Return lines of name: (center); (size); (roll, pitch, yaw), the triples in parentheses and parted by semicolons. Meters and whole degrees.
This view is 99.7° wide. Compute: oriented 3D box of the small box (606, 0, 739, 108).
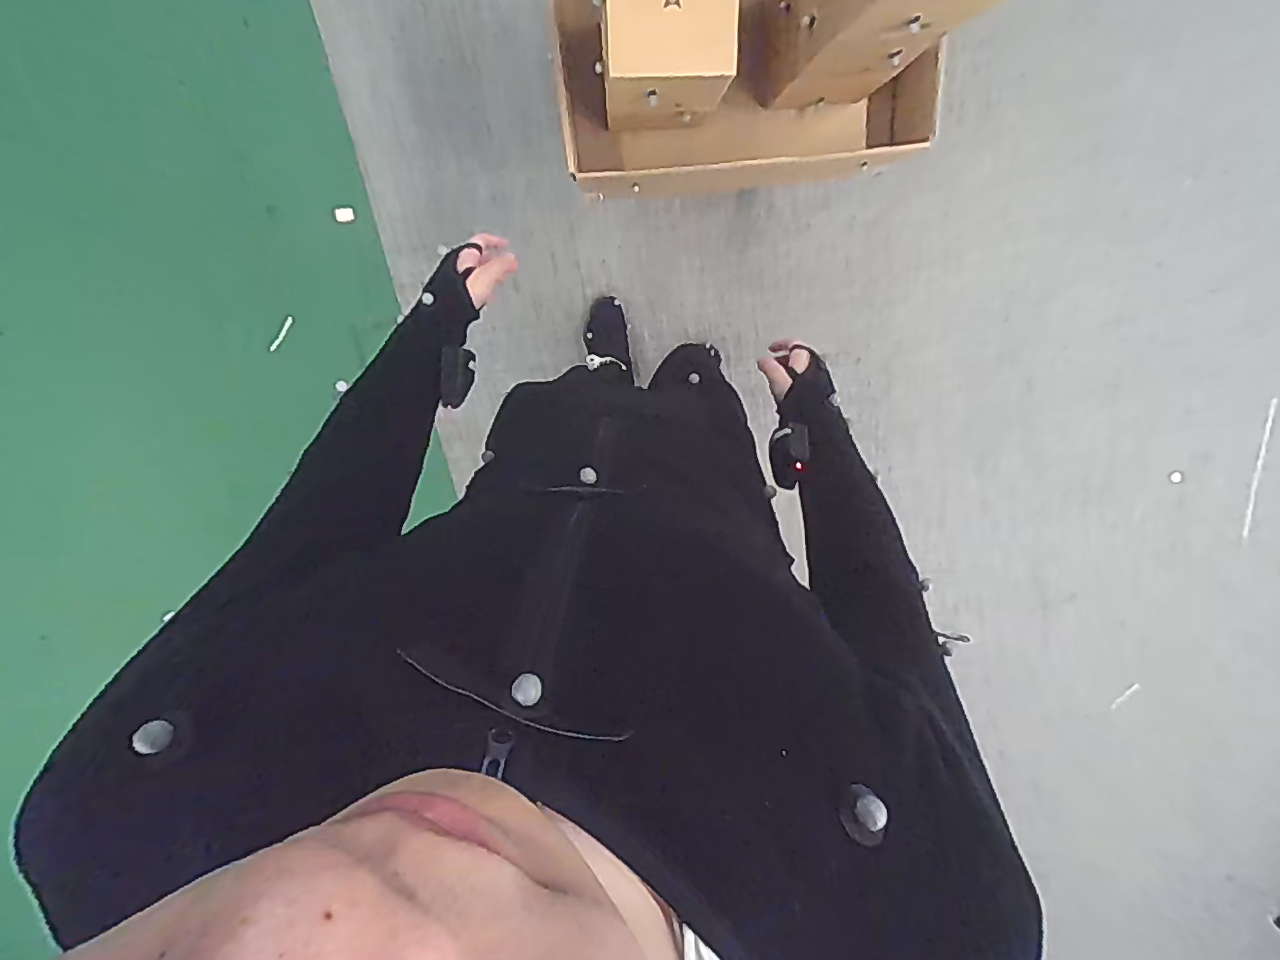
small box: (0.039, -0.624, 0.731); (0.168, 0.176, 0.179); (-2, 110, -1)

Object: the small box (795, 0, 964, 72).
small box: (0.314, -0.673, 0.722); (0.168, 0.176, 0.179); (-5, 111, -1)
